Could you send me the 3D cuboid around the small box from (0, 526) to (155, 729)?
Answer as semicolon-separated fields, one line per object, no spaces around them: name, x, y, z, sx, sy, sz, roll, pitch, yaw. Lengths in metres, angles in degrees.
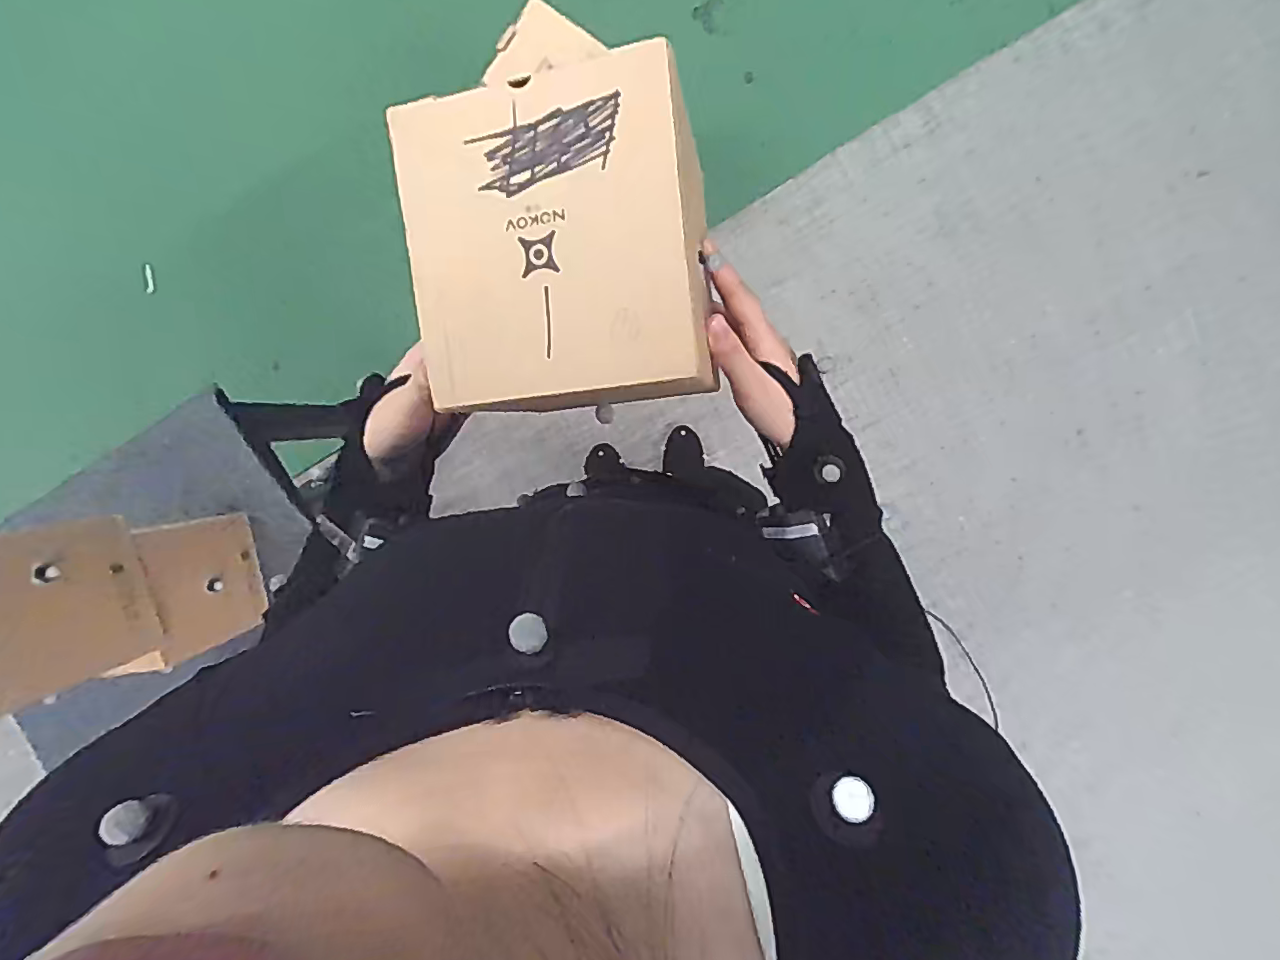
small box;-0.665;0.155;0.566;0.179;0.176;0.168;-14;94;9

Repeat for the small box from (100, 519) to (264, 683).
small box;-0.649;0.155;0.729;0.179;0.176;0.168;-9;96;8

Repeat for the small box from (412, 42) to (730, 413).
small box;-0.027;-0.142;0.377;0.168;0.176;0.179;-5;96;13

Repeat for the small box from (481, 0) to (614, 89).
small box;-0.154;-0.713;0.997;0.179;0.176;0.168;36;99;0
